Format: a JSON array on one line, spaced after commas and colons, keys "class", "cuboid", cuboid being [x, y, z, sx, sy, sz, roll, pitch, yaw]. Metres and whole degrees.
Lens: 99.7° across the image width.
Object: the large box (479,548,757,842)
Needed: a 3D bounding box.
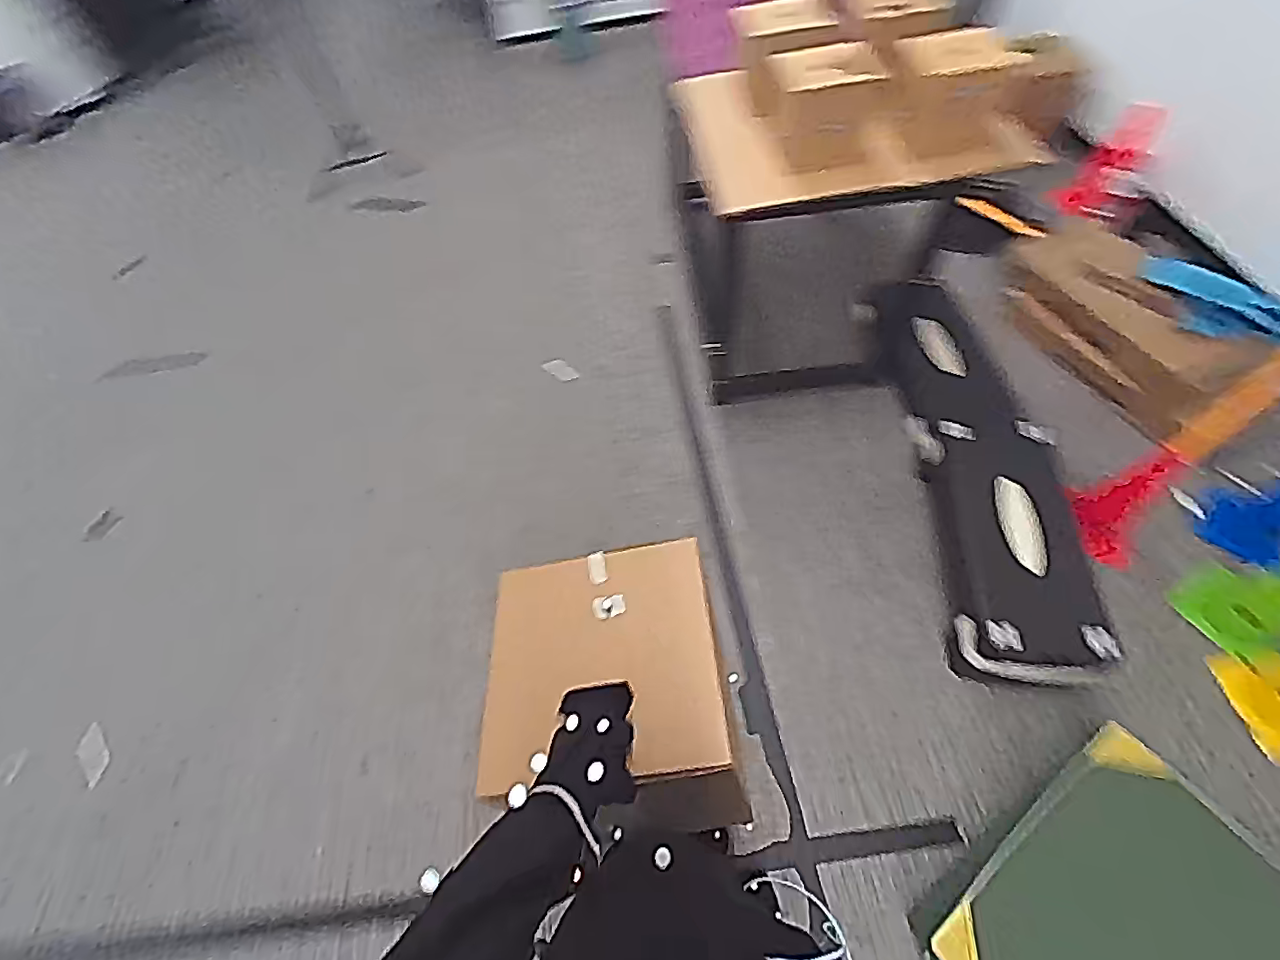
[{"class": "large box", "cuboid": [-0.016, 0.362, 0.872, 0.320, 0.408, 0.320, -13, 50, 8]}]
